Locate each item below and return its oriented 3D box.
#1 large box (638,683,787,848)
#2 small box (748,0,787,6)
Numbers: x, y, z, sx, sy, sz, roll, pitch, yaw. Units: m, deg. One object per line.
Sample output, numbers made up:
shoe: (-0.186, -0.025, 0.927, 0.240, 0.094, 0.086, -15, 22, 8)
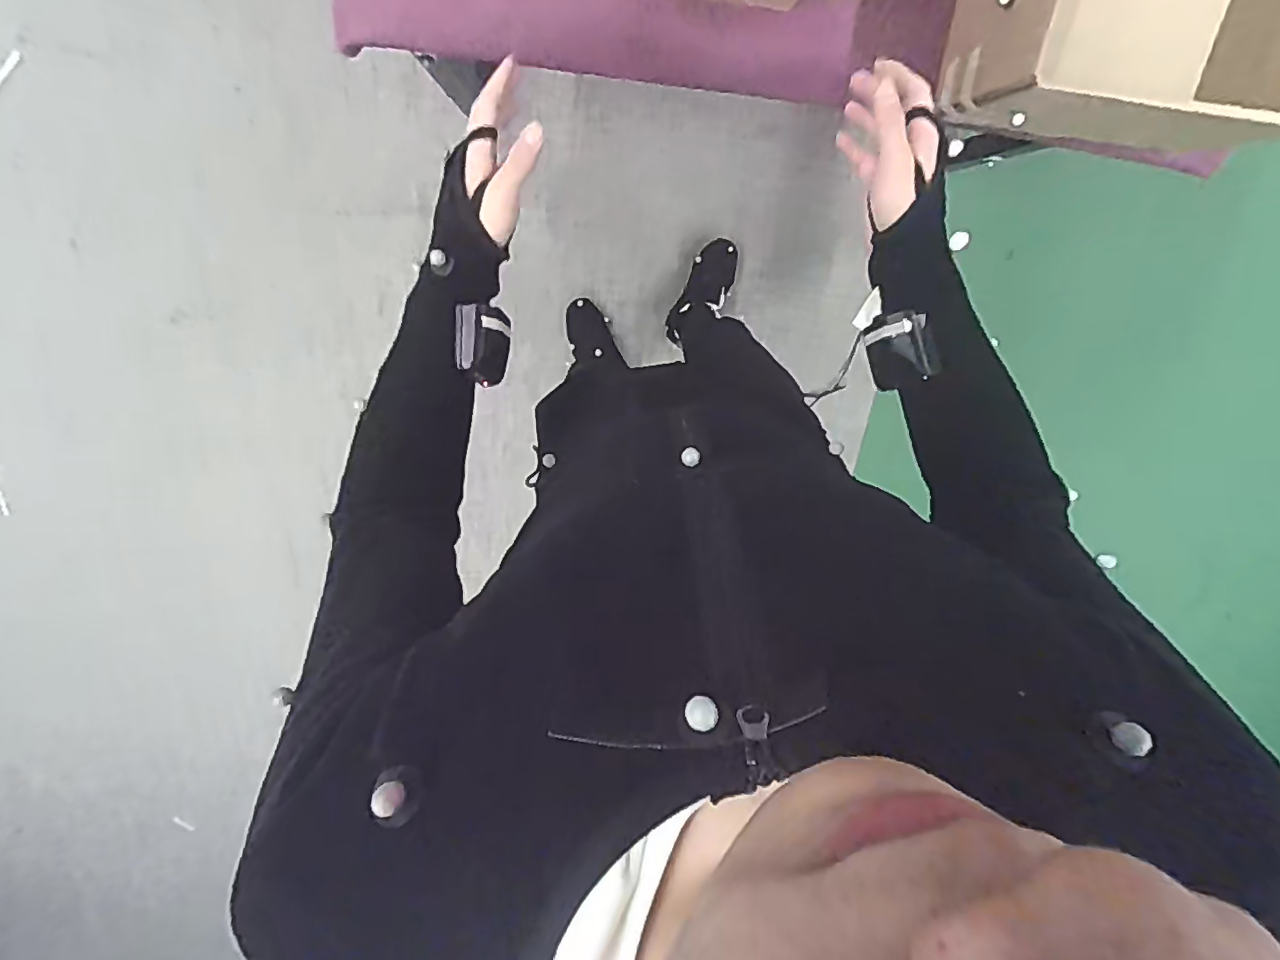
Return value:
large box: (0.248, 1.020, 1.953, 0.408, 0.320, 0.320, -27, 113, 5)
small box: (0.117, -0.640, 0.560, 0.168, 0.176, 0.179, 3, 110, -7)
